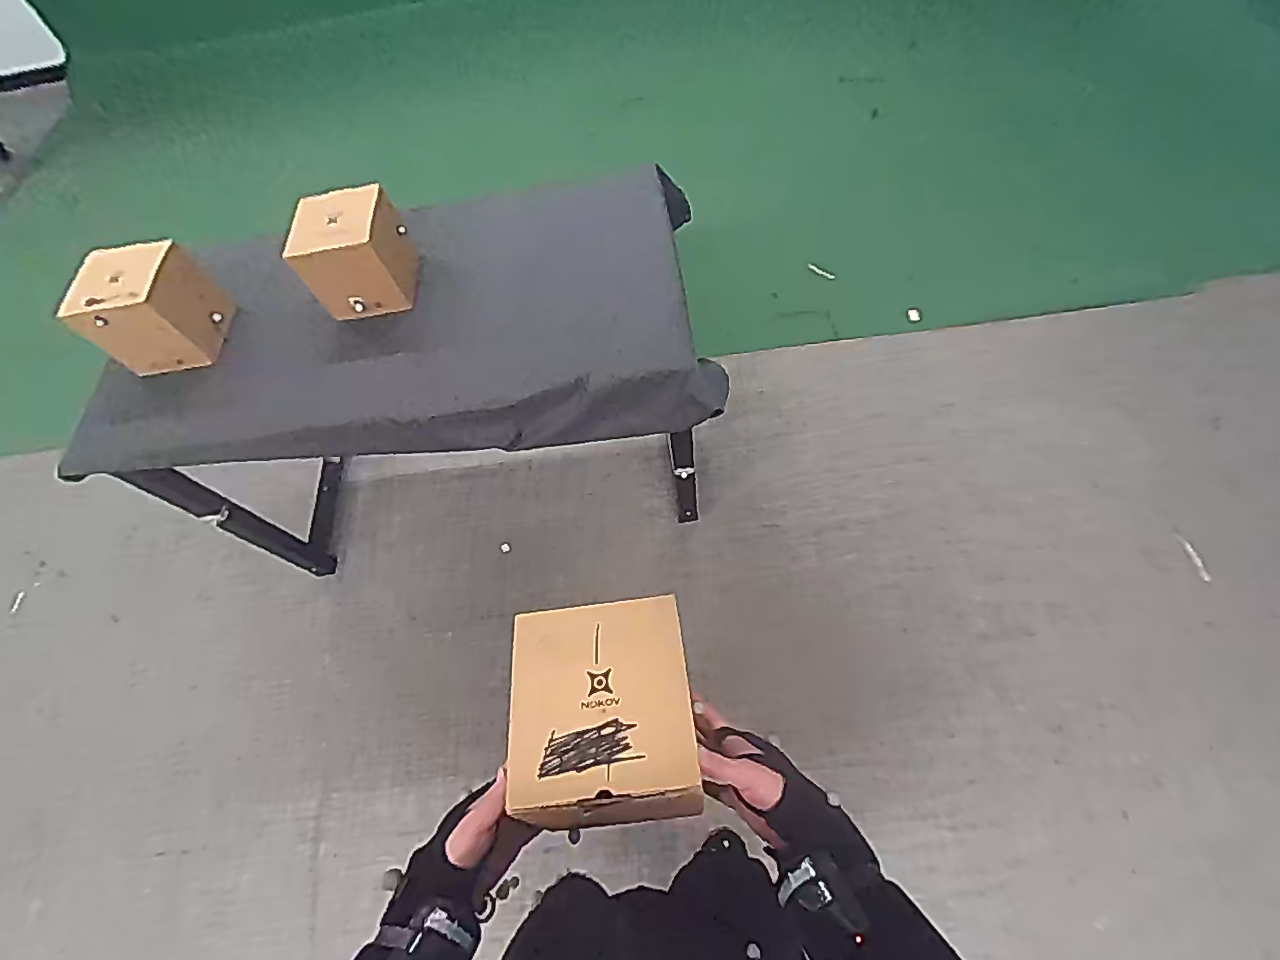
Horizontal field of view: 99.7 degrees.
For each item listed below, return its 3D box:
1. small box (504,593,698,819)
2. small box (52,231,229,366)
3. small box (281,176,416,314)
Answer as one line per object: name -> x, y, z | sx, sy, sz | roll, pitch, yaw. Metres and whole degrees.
small box -> -0.032, 0.239, 0.557 | 0.168, 0.176, 0.179 | -7, 52, 0
small box -> -0.958, -0.352, 1.061 | 0.168, 0.176, 0.179 | -8, 61, 2
small box -> -0.566, -0.463, 1.077 | 0.168, 0.176, 0.179 | -9, 63, 3
